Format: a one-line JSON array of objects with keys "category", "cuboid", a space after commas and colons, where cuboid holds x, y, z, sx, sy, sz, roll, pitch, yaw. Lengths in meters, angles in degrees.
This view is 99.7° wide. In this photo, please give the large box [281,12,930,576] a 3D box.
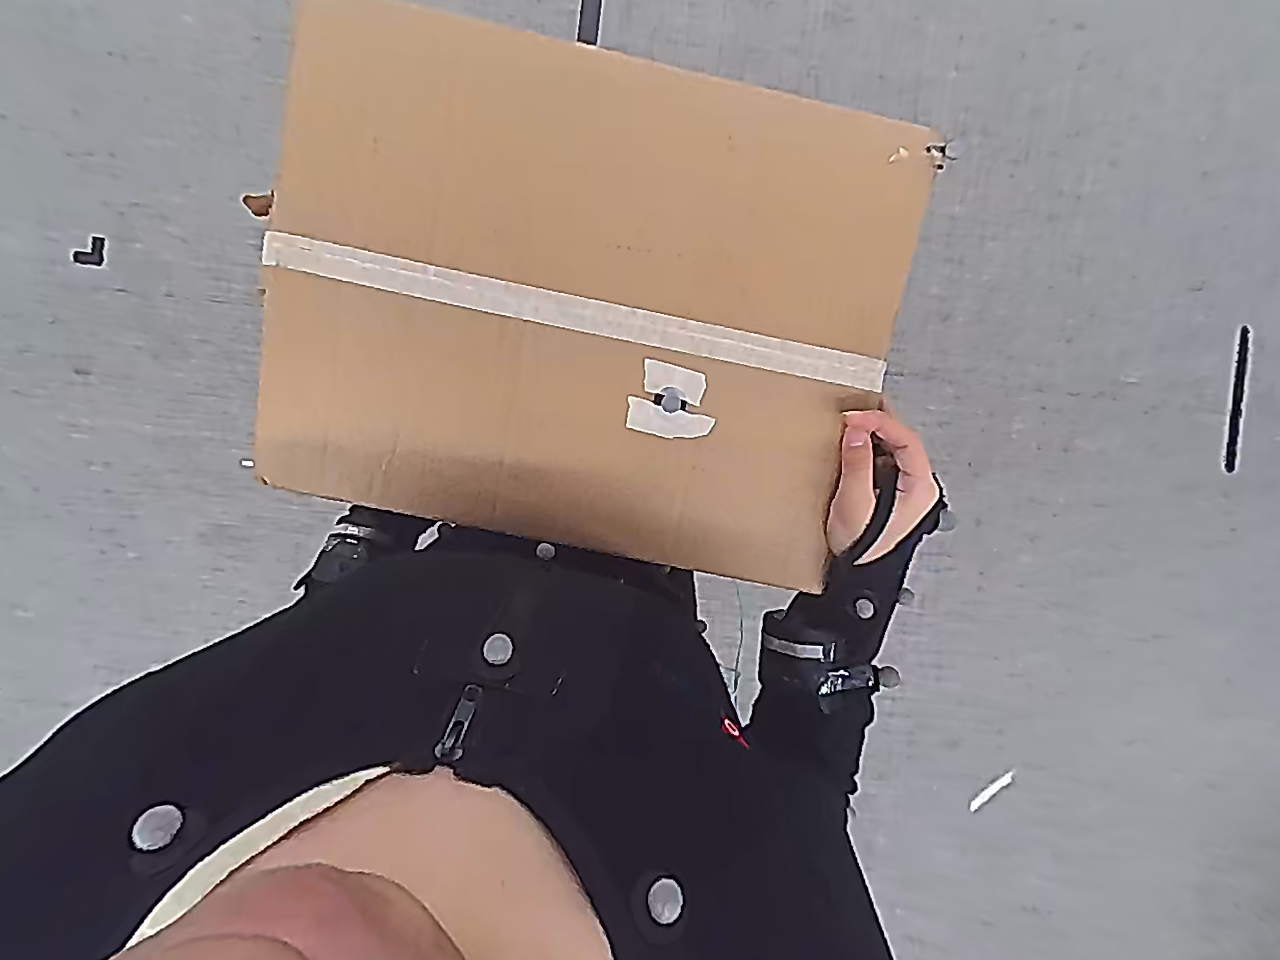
[{"category": "large box", "cuboid": [-0.035, -0.131, 0.512, 0.408, 0.320, 0.320, 11, 99, -4]}]
